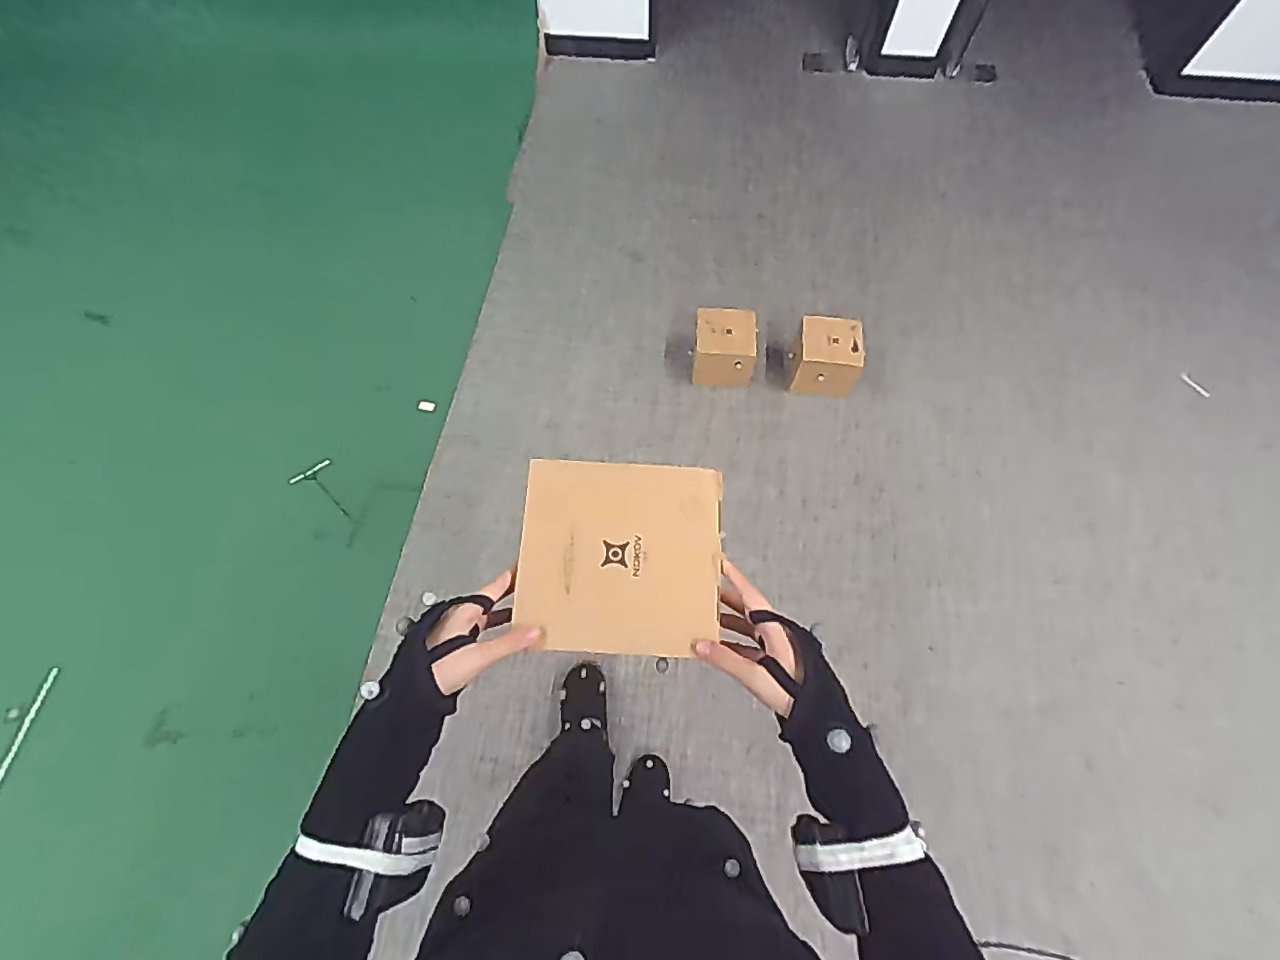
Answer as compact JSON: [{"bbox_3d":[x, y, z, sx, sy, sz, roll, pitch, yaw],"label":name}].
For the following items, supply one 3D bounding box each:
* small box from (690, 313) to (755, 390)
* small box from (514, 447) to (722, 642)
[{"bbox_3d":[0.251,-0.392,1.669,0.179,0.176,0.168,3,66,3],"label":"small box"},{"bbox_3d":[-0.016,0.076,0.559,0.179,0.176,0.168,3,73,2],"label":"small box"}]
